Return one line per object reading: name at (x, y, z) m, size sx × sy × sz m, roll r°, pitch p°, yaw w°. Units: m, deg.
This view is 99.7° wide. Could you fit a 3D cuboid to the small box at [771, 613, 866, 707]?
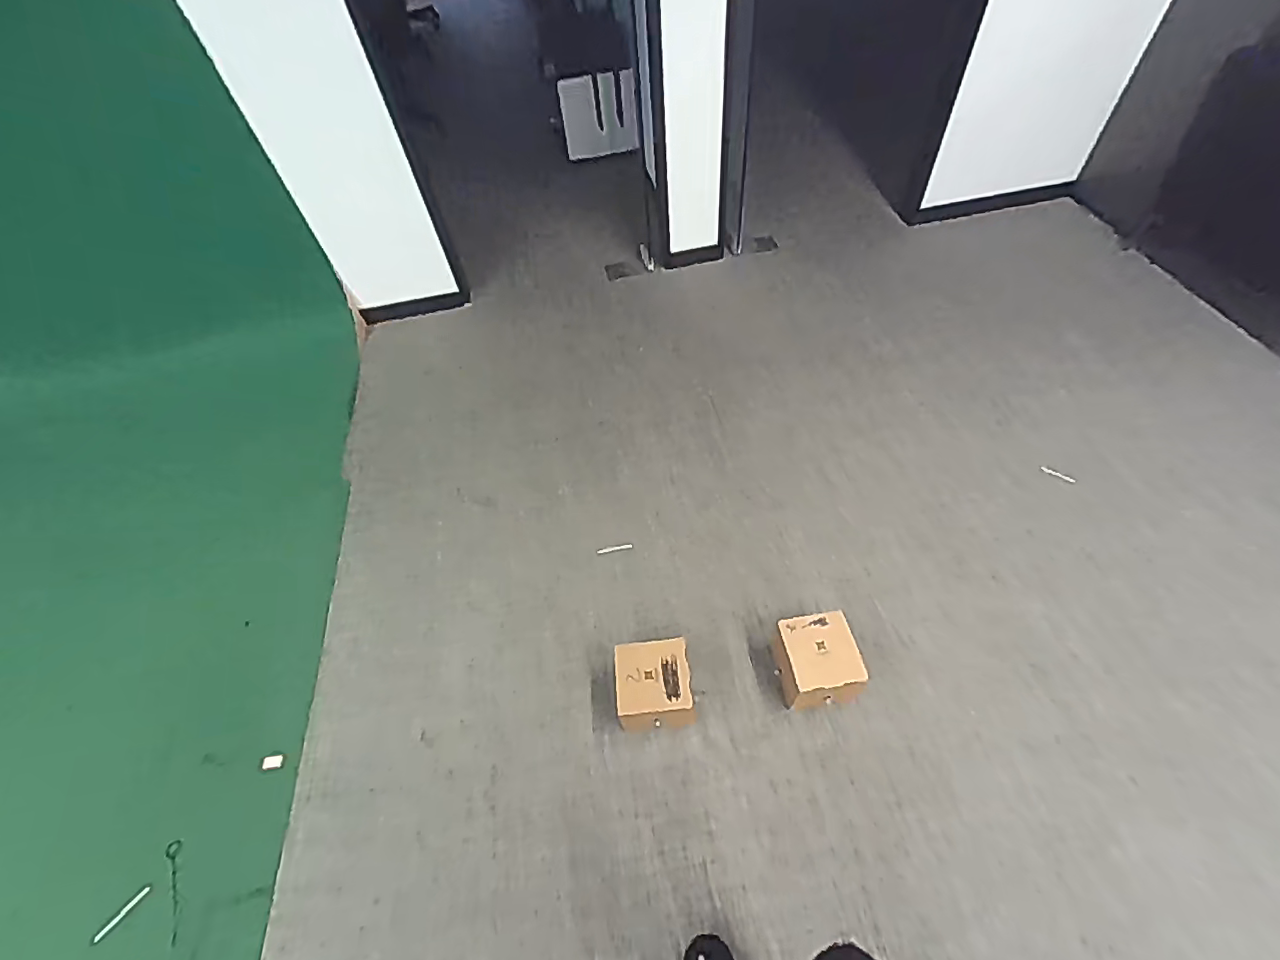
small box at (0.434, 0.454, 1.345) m, size 0.168 × 0.176 × 0.179 m, roll -9°, pitch 53°, yaw -1°
